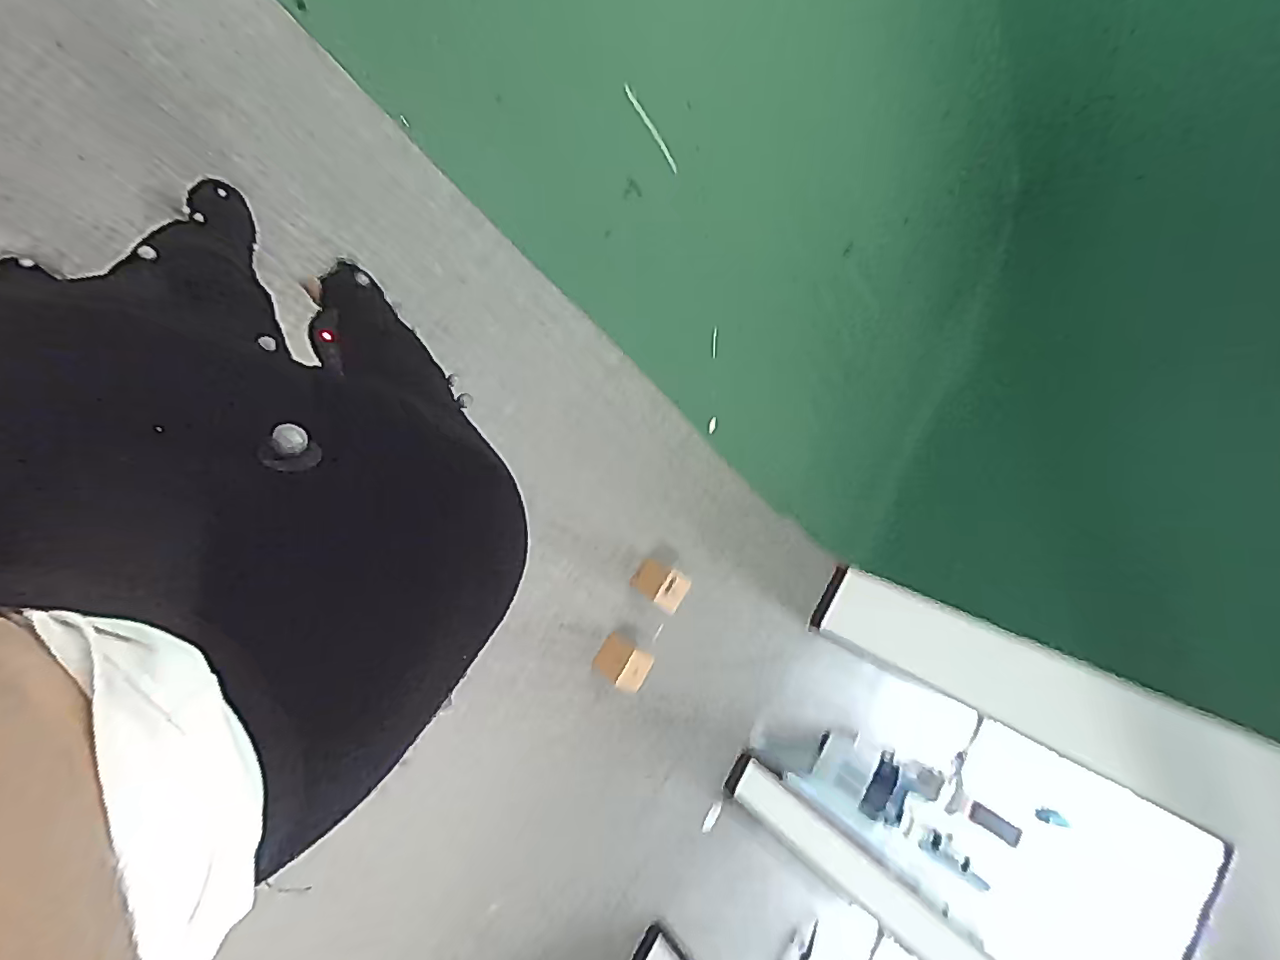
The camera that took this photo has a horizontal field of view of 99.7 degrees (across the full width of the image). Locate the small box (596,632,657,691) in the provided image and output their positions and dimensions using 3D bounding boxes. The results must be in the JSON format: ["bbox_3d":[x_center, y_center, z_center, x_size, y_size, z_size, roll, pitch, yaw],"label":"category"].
[{"bbox_3d":[-0.064,0.804,2.408,0.168,0.176,0.179,39,80,-43],"label":"small box"}]
